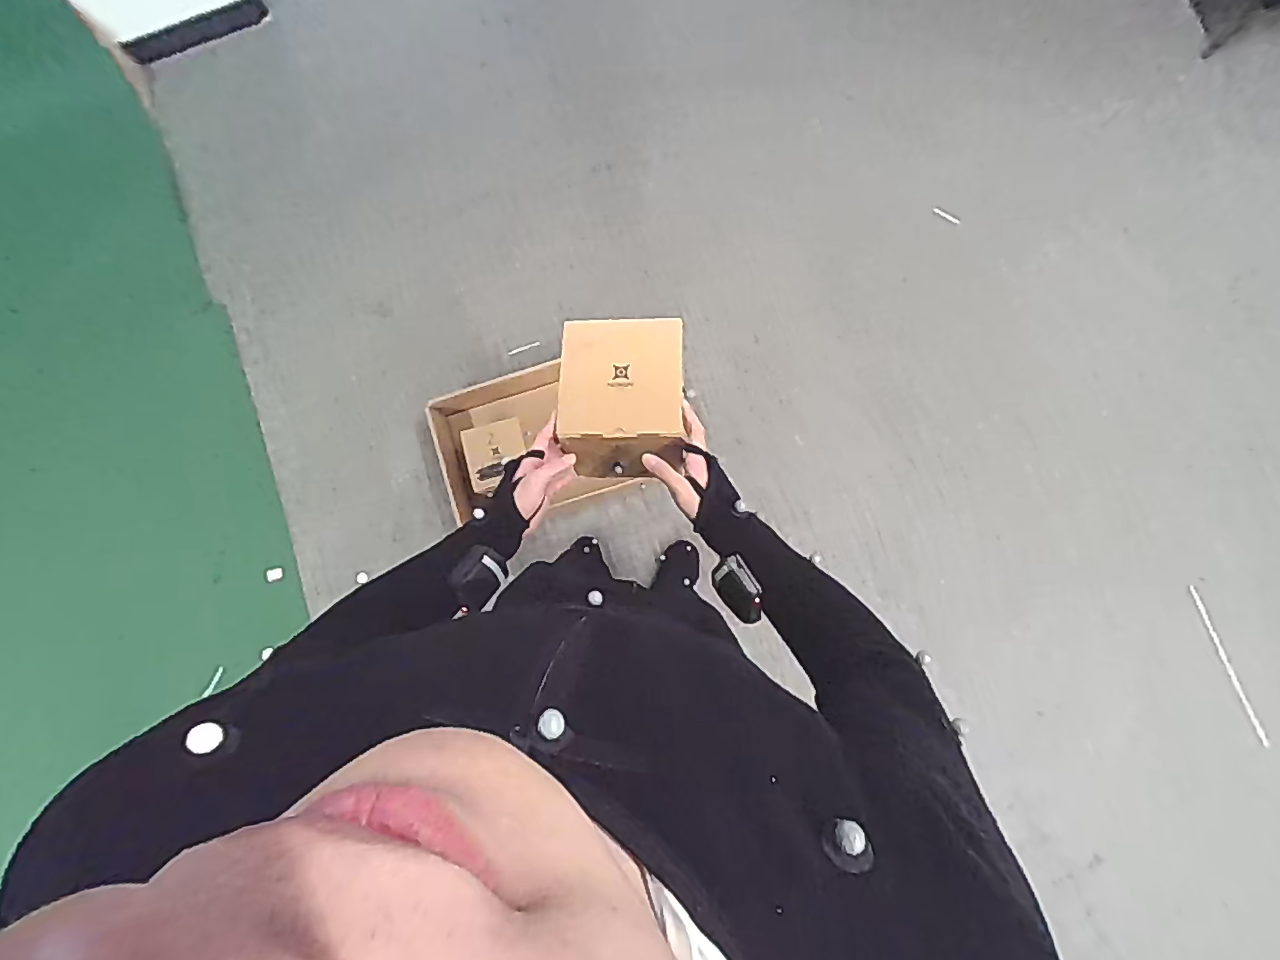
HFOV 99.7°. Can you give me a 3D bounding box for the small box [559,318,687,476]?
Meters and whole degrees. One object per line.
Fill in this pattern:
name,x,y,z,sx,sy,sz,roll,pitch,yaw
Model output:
small box,-0.017,-0.115,0.790,0.168,0.176,0.179,0,73,4
